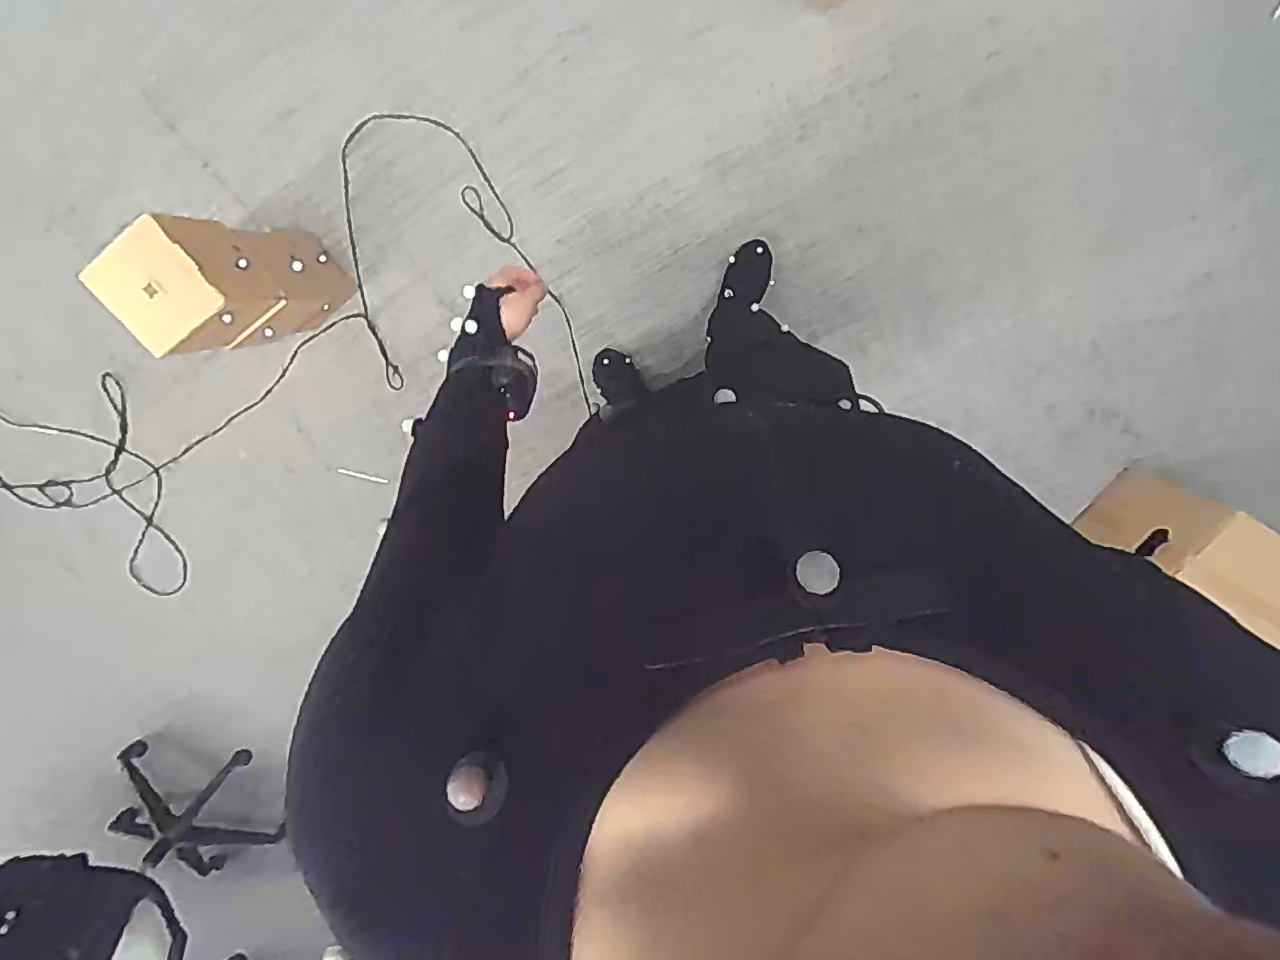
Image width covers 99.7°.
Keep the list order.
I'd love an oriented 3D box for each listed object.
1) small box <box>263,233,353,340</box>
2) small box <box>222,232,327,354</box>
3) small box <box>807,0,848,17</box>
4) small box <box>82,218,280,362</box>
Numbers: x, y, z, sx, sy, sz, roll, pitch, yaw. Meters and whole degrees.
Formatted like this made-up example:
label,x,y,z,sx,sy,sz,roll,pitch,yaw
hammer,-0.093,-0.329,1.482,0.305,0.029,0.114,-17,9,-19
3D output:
label,x,y,z,sx,sy,sz,roll,pitch,yaw
small box,-0.817,-0.454,1.276,0.179,0.176,0.168,-35,105,13
small box,-0.806,-0.385,1.127,0.179,0.176,0.168,-32,107,11
small box,0.402,-1.062,1.042,0.168,0.176,0.179,-27,107,10
small box,-0.807,-0.336,0.972,0.179,0.176,0.168,-33,107,11
